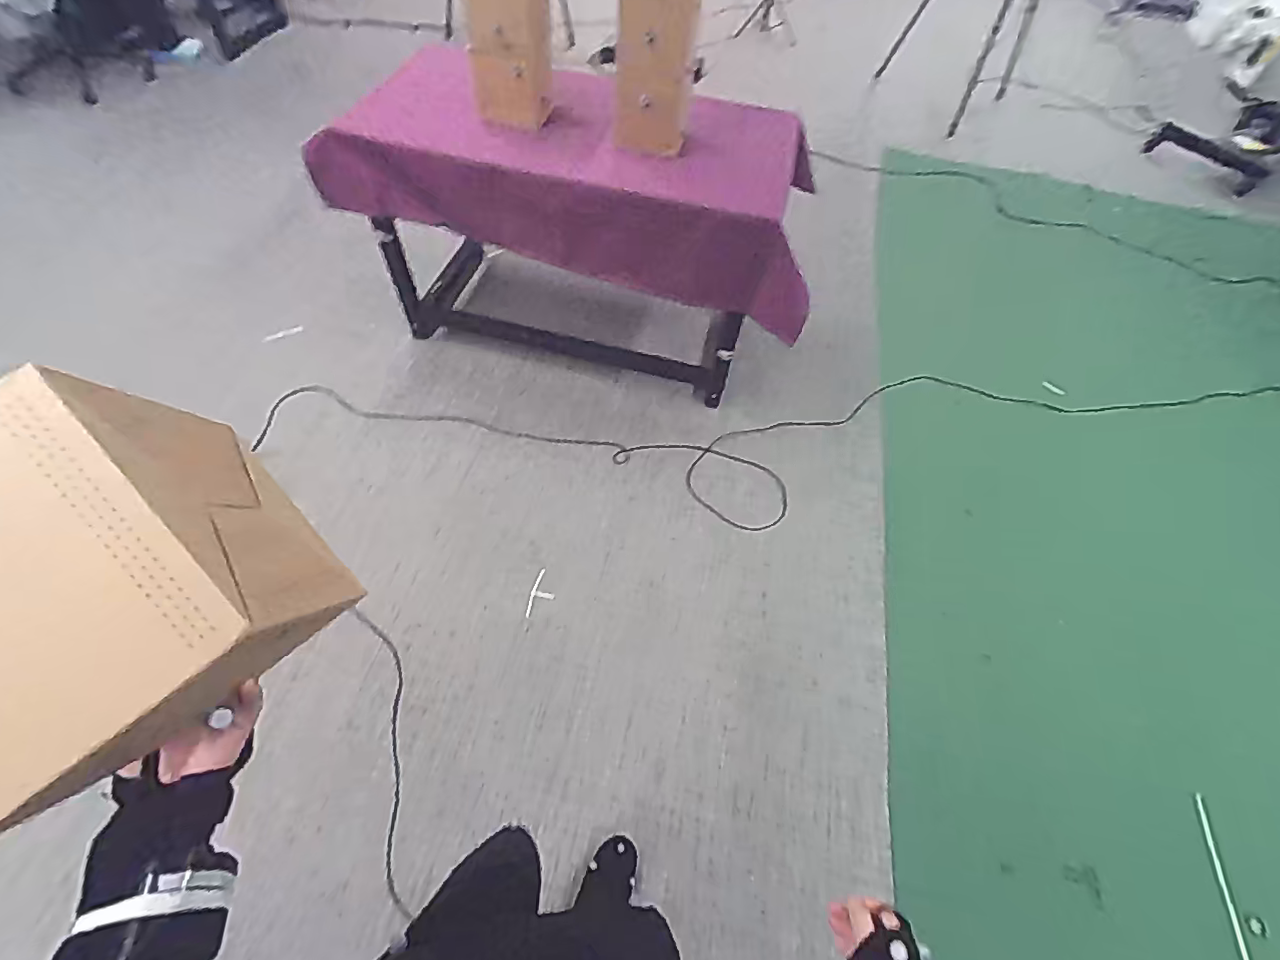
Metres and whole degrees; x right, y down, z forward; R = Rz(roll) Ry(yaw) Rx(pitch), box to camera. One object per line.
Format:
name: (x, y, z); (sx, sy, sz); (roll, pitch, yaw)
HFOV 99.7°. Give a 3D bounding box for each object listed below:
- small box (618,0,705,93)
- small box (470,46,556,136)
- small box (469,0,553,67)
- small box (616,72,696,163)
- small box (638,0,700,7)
small box: (0.050, -1.071, 1.311); (0.179, 0.176, 0.168); (13, 57, 5)
small box: (-0.340, -1.075, 1.480); (0.179, 0.176, 0.168); (13, 56, 3)
small box: (-0.319, -1.168, 1.345); (0.168, 0.176, 0.179); (12, 56, 3)
small box: (0.039, -0.980, 1.447); (0.179, 0.176, 0.168); (14, 57, 4)
small box: (0.060, -1.164, 1.175); (0.179, 0.176, 0.168); (12, 57, 4)
